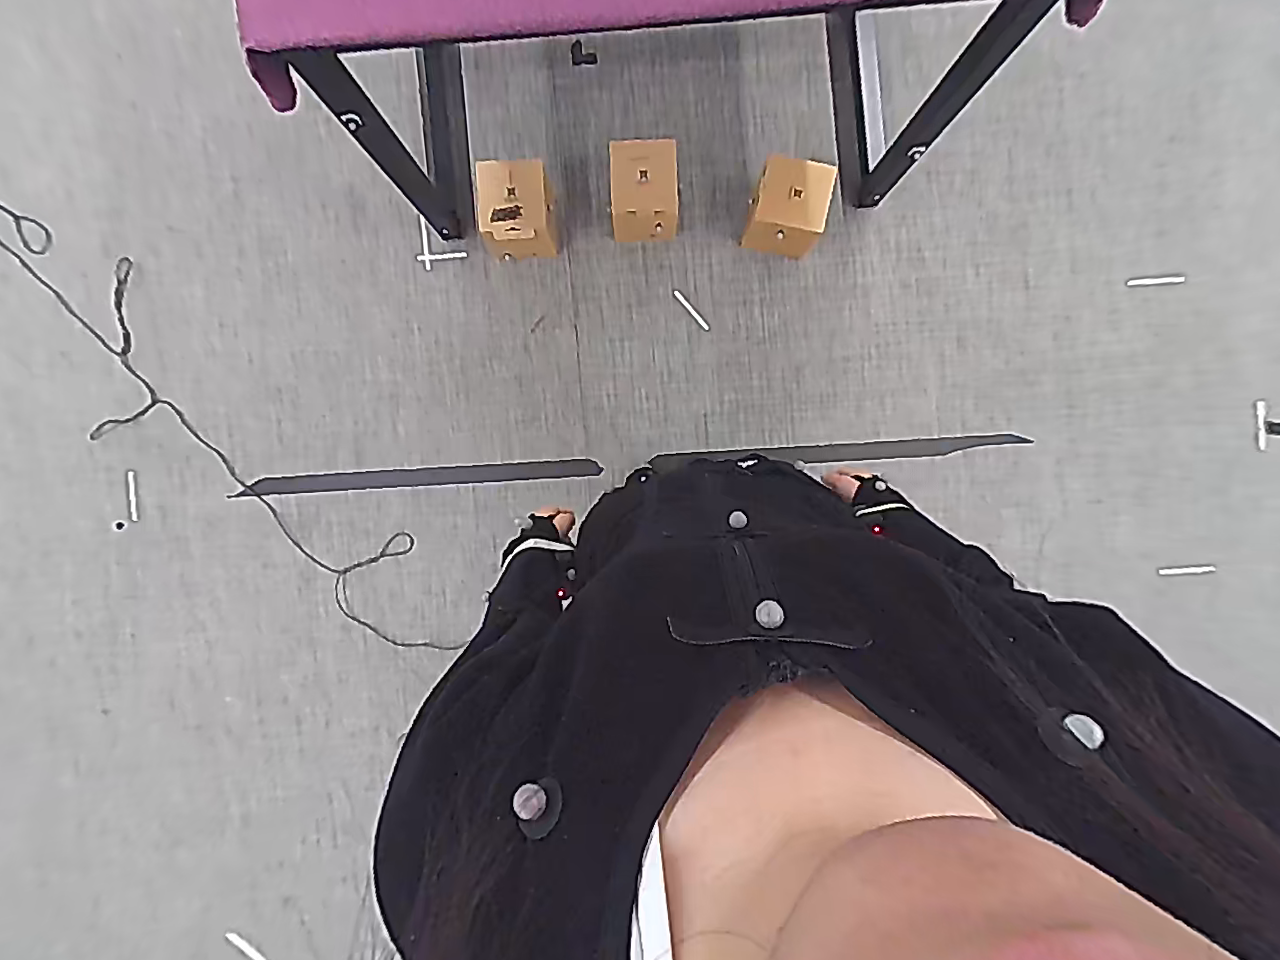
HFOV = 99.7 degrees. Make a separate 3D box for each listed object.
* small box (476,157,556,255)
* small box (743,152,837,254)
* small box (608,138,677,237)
[{"bbox_3d":[-0.313,-0.696,1.395,0.168,0.176,0.179,-3,91,0],"label":"small box"},{"bbox_3d":[0.379,-0.704,1.396,0.179,0.176,0.168,13,92,1],"label":"small box"},{"bbox_3d":[0.007,-0.743,1.395,0.168,0.176,0.179,-3,91,-1],"label":"small box"}]
